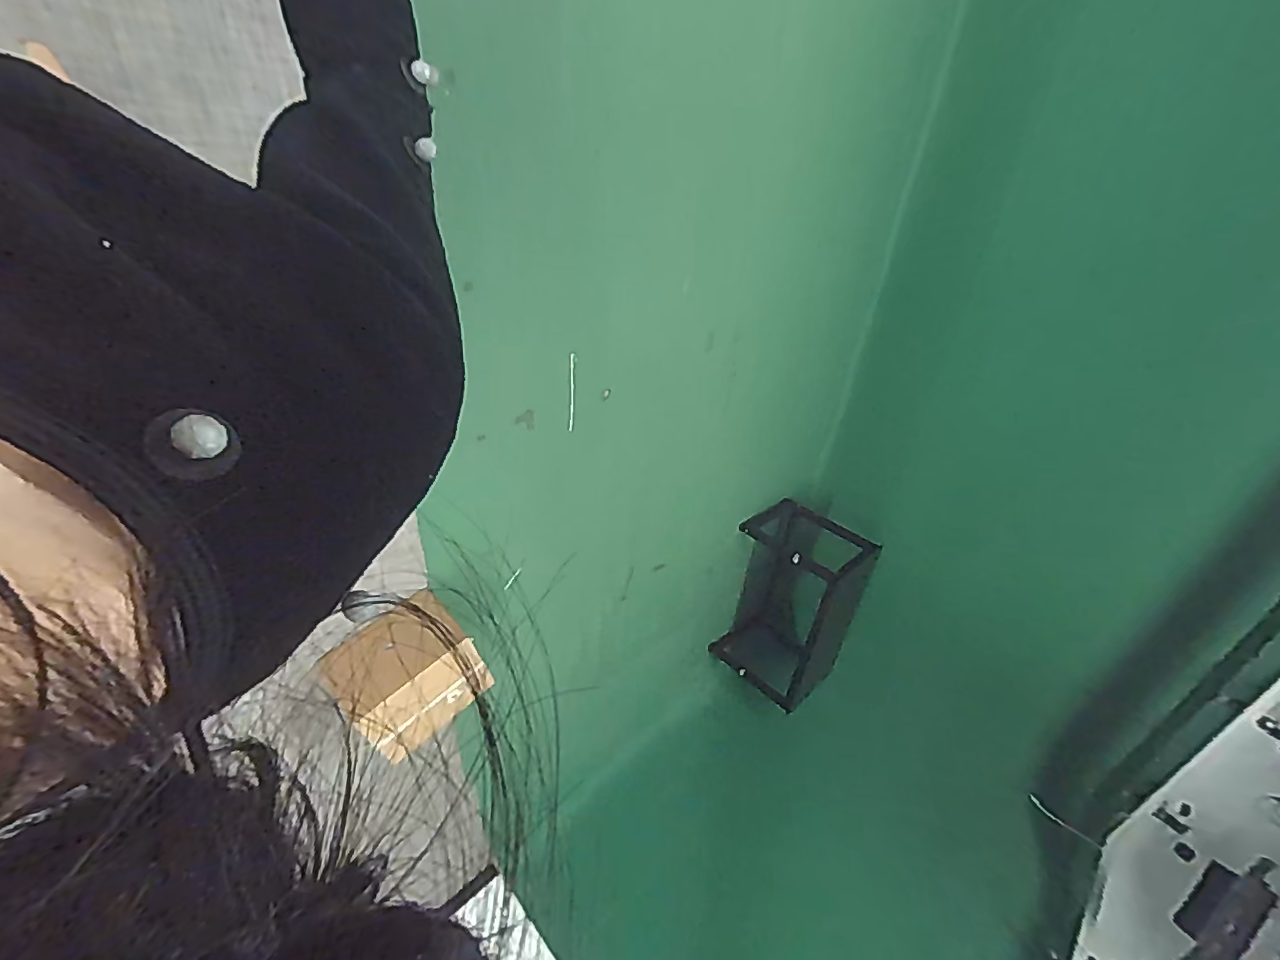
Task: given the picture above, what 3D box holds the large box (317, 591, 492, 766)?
[{"bbox_3d":[-0.800,0.673,1.867,0.408,0.320,0.320,-37,140,-29],"label":"large box"}]
